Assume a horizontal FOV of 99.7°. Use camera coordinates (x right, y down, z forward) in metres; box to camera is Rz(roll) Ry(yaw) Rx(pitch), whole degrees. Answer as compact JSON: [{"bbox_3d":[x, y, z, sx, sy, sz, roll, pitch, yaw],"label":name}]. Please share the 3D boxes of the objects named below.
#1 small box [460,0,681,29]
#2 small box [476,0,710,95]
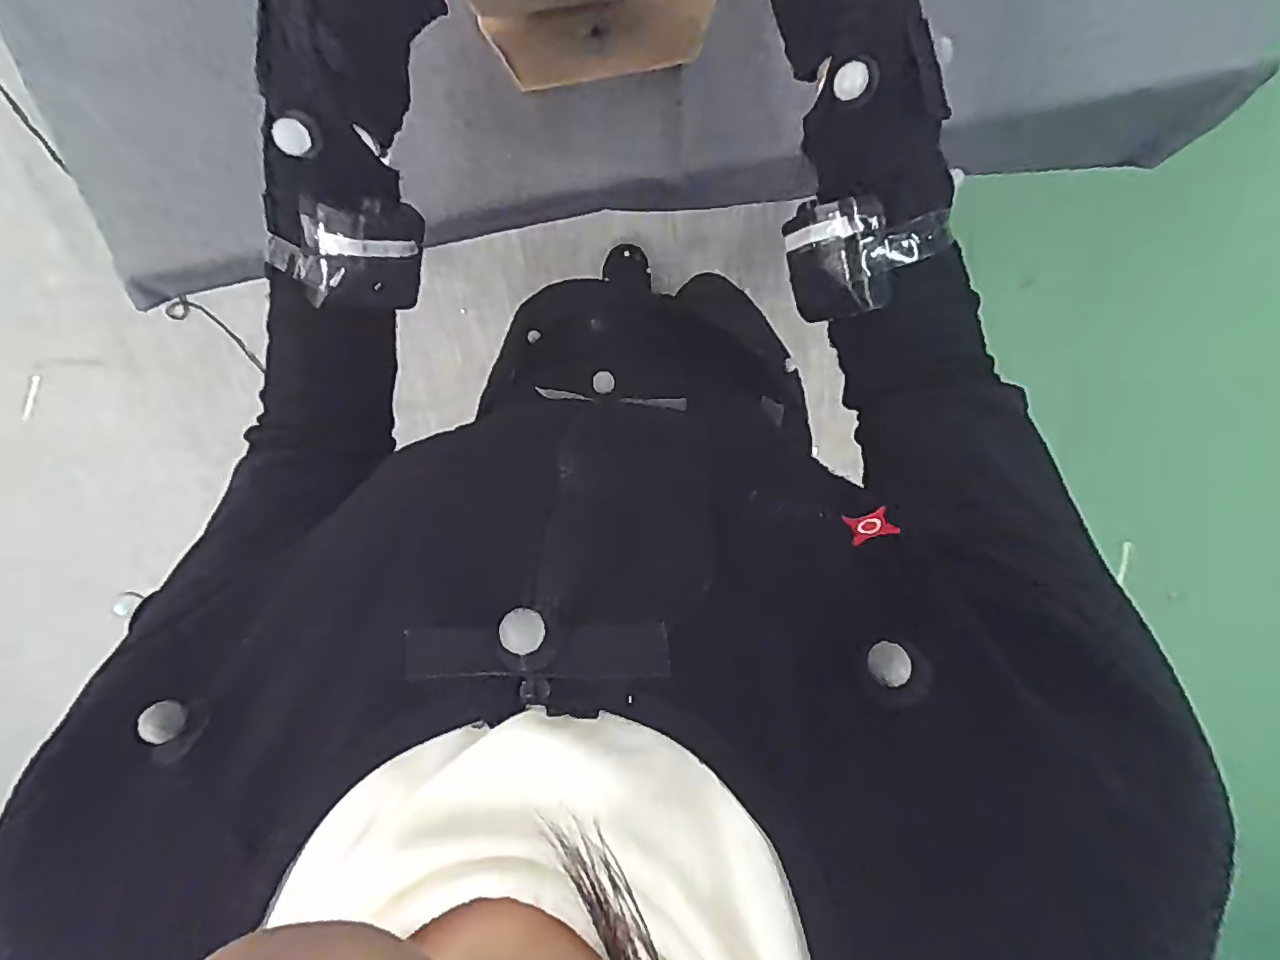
[{"bbox_3d":[-0.039,-0.371,0.277,0.179,0.176,0.168,-6,111,4],"label":"small box"},{"bbox_3d":[-0.042,-0.435,0.432,0.179,0.176,0.168,-9,114,2],"label":"small box"}]
